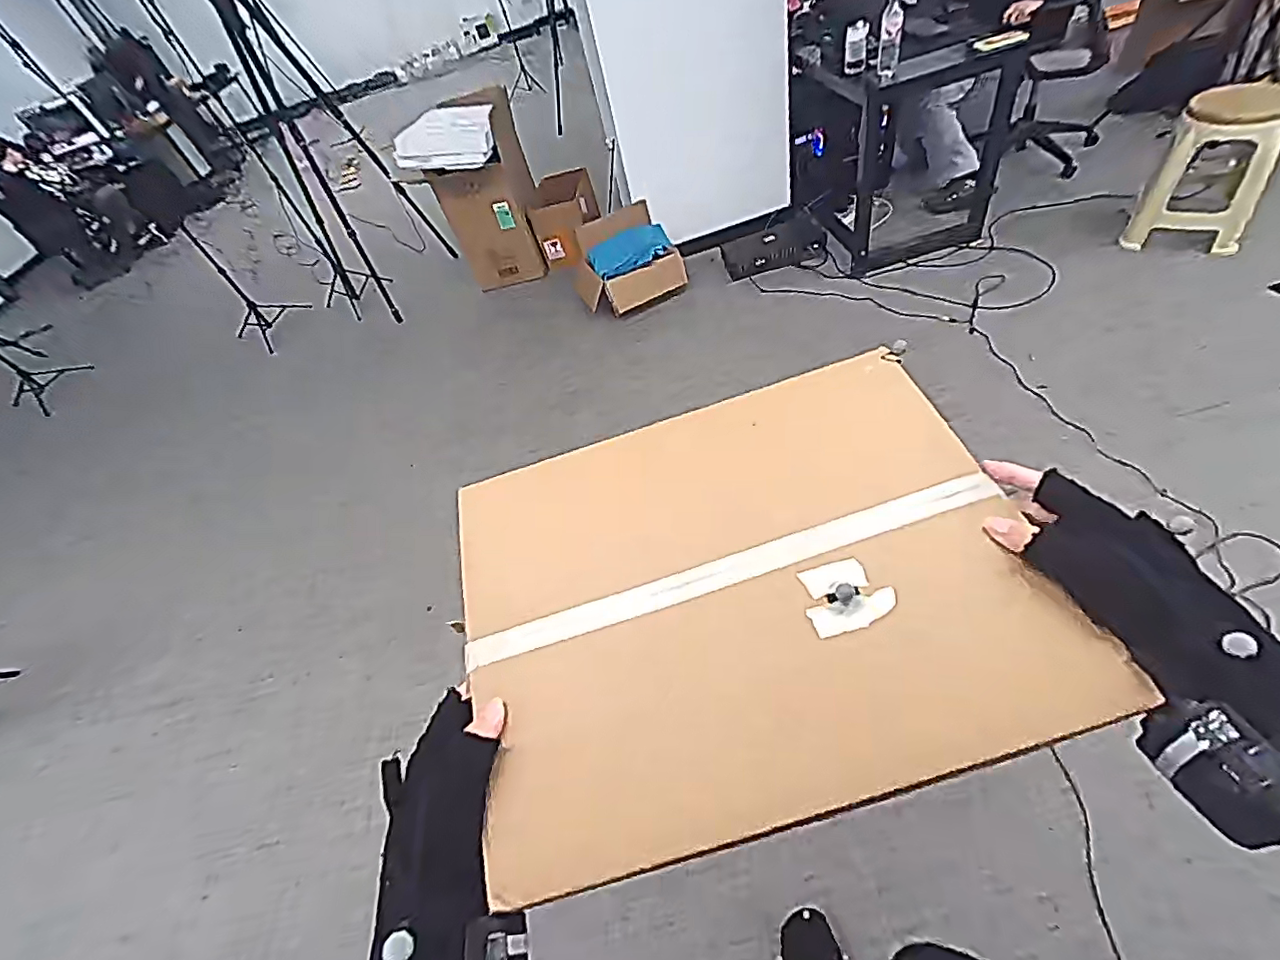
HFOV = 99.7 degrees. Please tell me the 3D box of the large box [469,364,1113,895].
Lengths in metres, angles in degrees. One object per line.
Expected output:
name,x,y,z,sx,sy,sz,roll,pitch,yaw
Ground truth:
large box,0.094,0.154,0.537,0.408,0.320,0.320,-19,56,1
